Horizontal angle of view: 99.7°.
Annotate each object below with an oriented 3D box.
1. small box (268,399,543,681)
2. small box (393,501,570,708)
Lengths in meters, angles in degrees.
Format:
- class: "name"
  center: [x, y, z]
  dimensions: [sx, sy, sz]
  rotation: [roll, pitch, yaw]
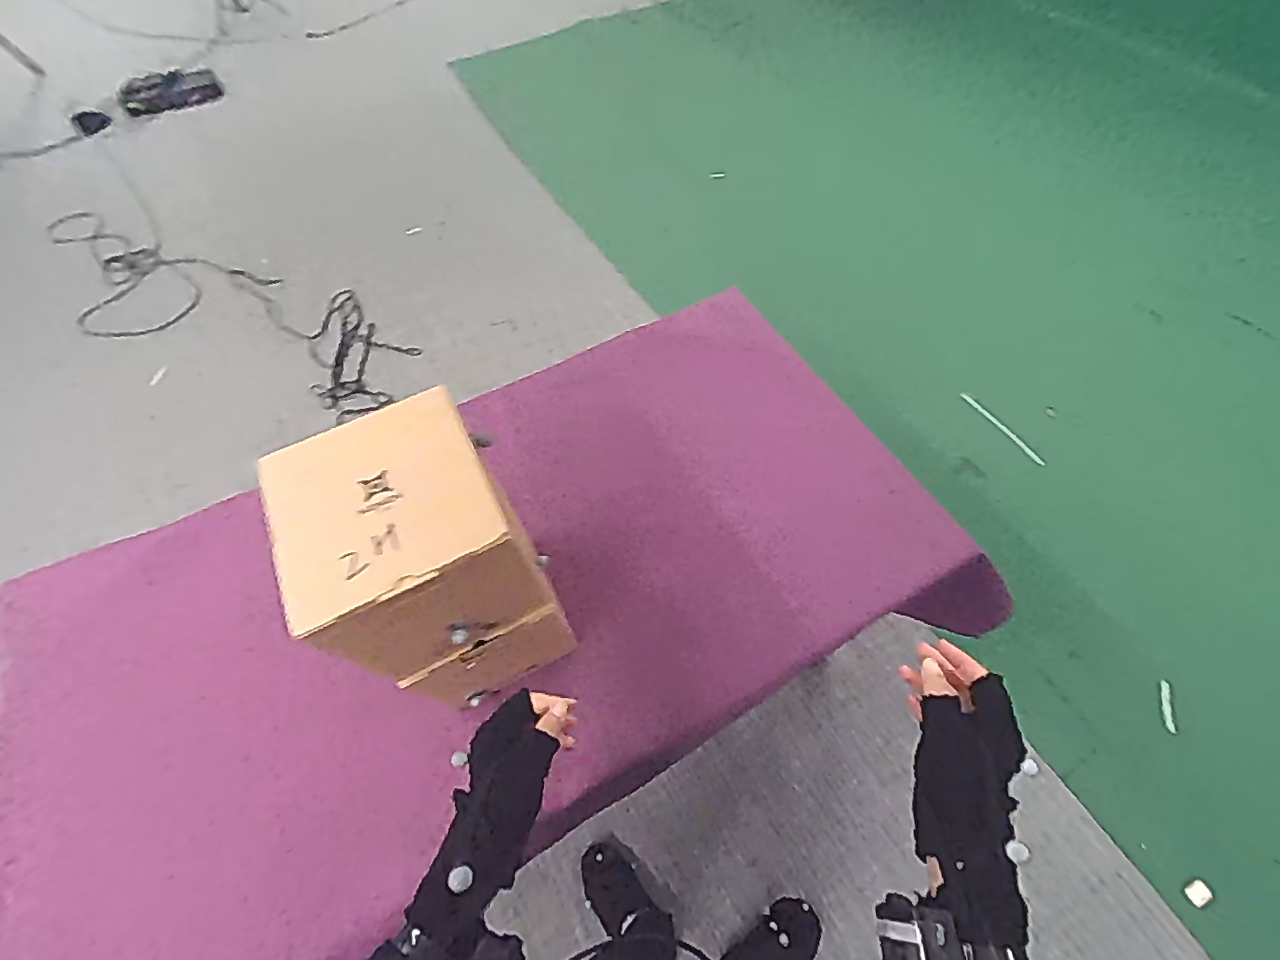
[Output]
- class: "small box"
  center: [-0.209, 0.062, 0.512]
  dimensions: [0.168, 0.176, 0.179]
  rotation: [-25, 61, -12]
- class: "small box"
  center: [-0.197, 0.153, 0.649]
  dimensions: [0.168, 0.176, 0.179]
  rotation: [-25, 60, -12]
